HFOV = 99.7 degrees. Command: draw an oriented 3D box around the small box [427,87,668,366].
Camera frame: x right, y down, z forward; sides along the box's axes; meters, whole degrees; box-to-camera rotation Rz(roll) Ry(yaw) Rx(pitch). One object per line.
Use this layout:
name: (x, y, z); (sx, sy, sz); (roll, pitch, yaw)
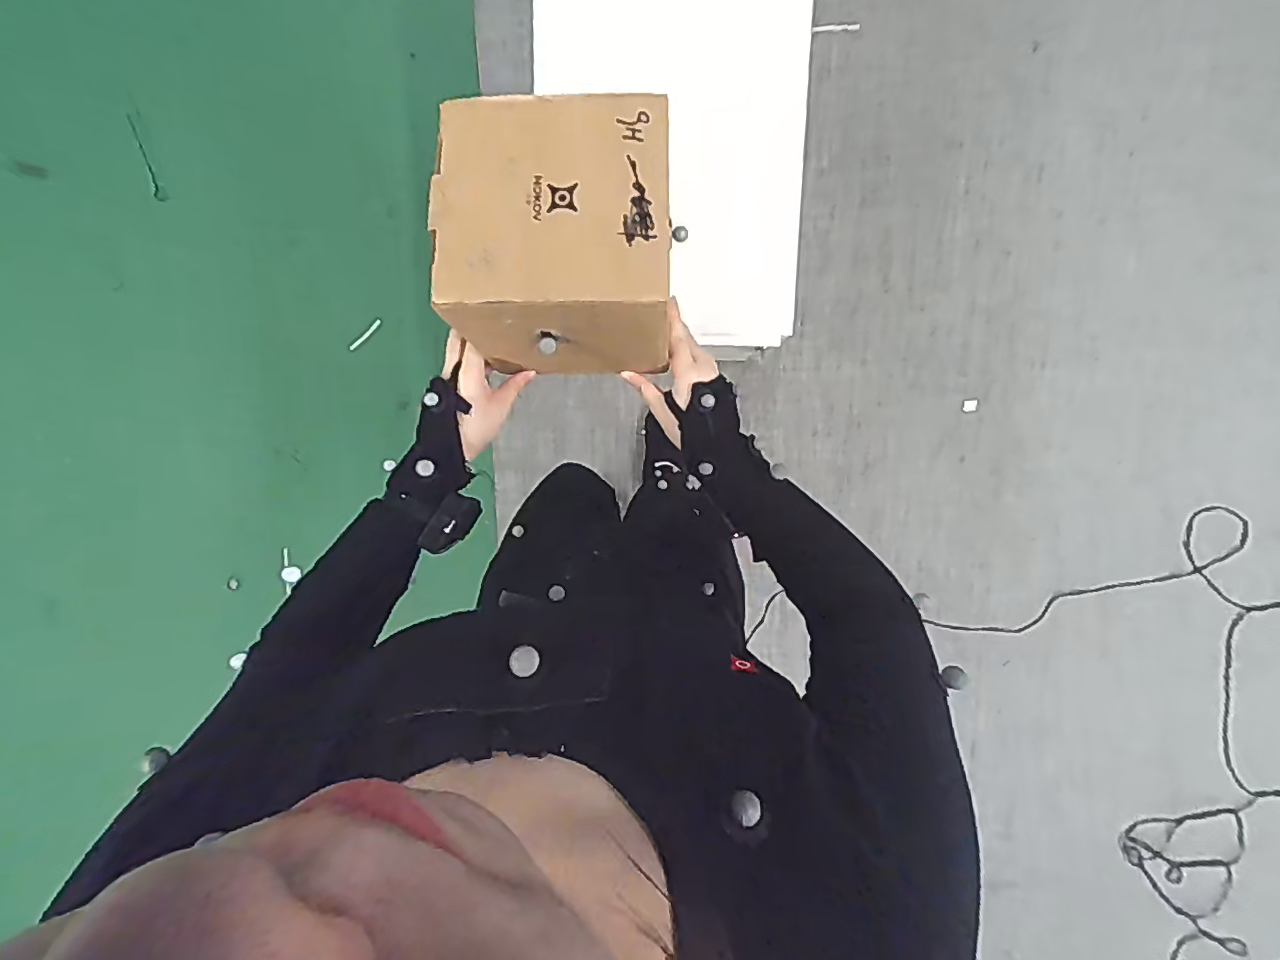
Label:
small box: (-0.065, -0.205, 0.481); (0.179, 0.176, 0.168); (0, 84, 3)
